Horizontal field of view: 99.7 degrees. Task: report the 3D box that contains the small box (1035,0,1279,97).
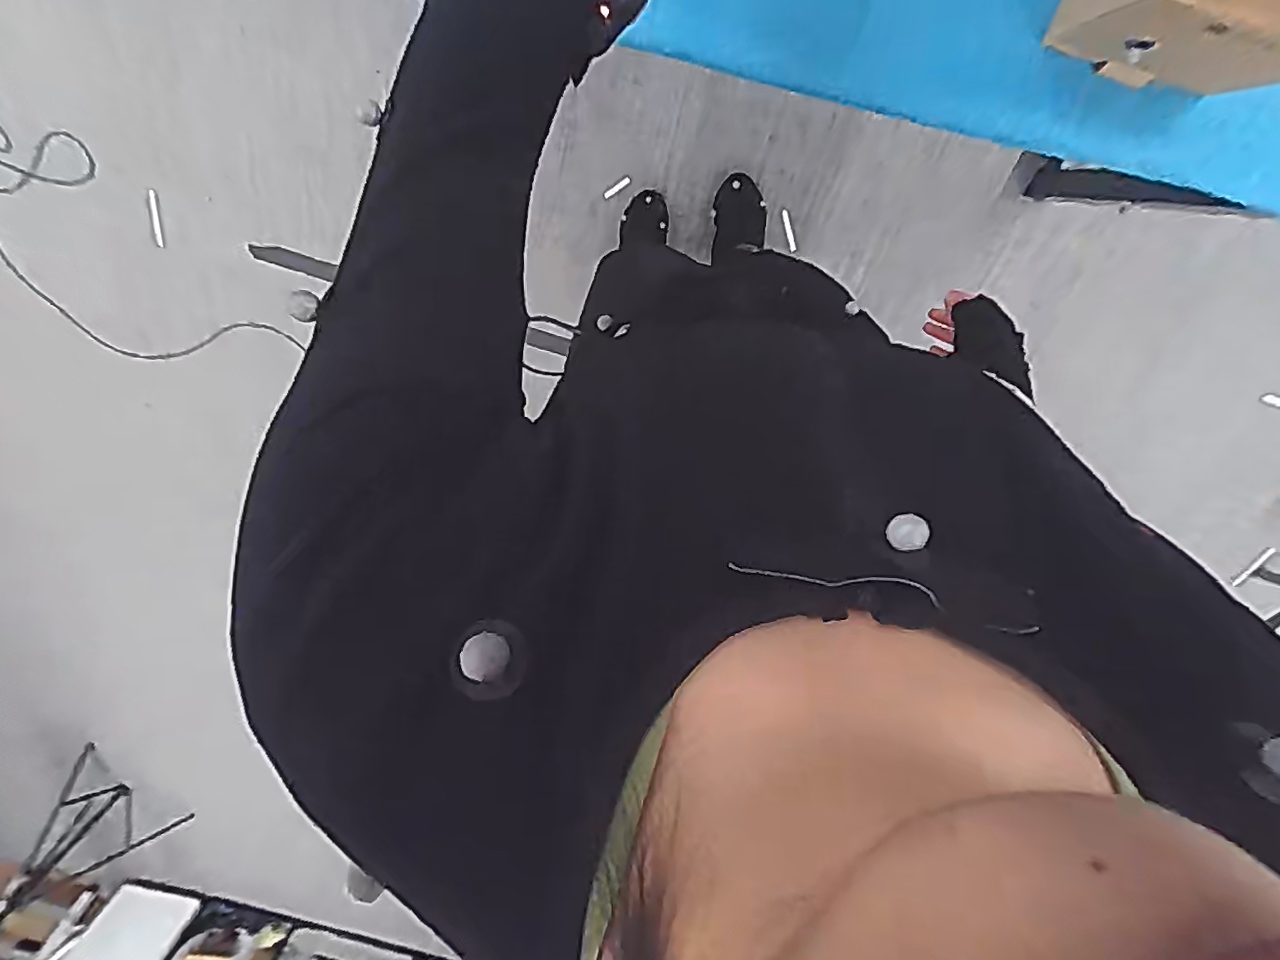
[{"bbox_3d":[0.453,-0.414,0.394,0.168,0.176,0.179,16,120,-1],"label":"small box"}]
